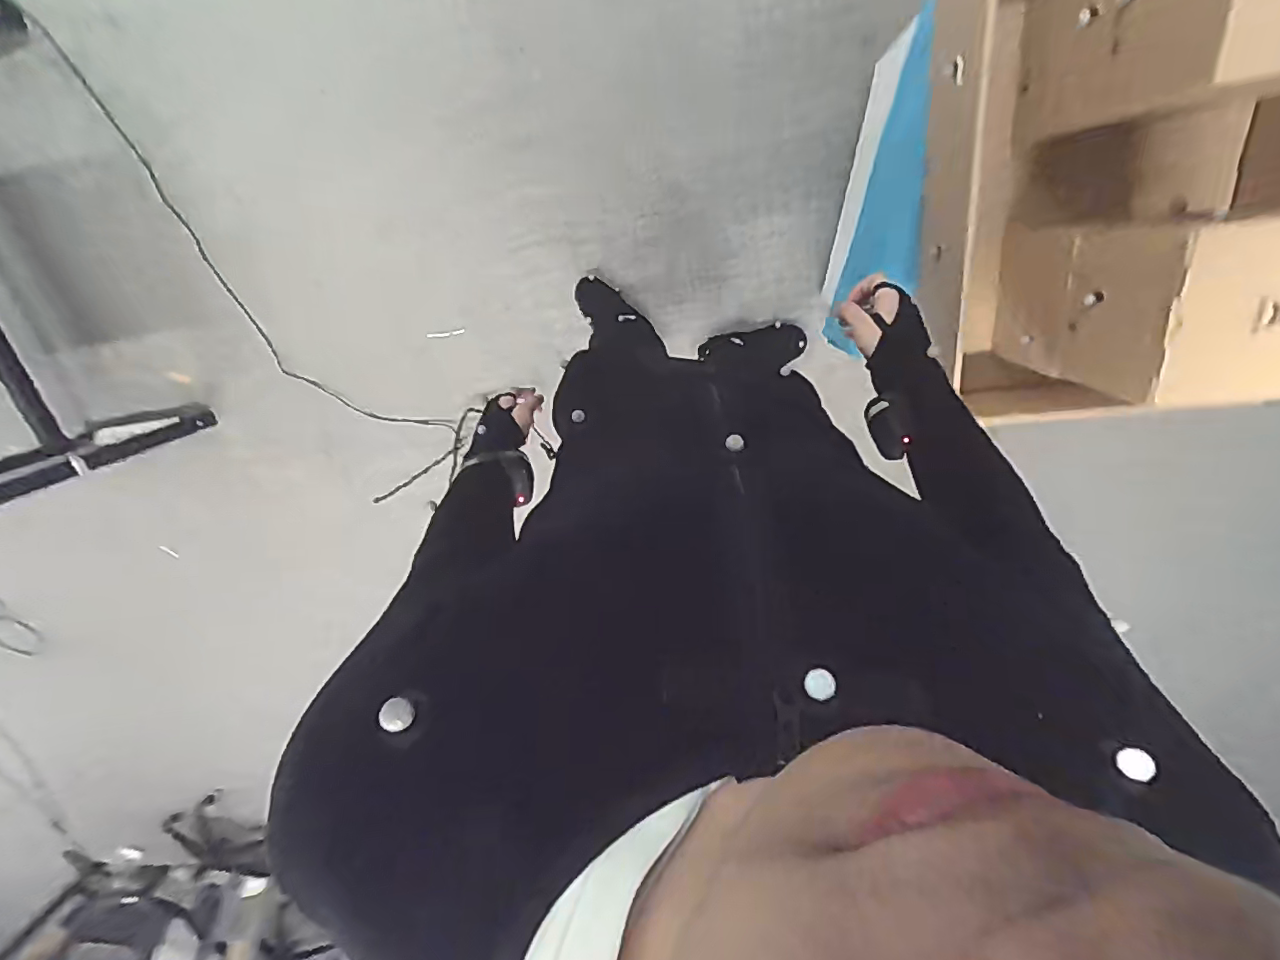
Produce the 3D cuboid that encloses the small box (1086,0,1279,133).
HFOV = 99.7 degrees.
[{"bbox_3d":[0.551,-0.423,0.472,0.179,0.176,0.168,-3,112,9],"label":"small box"}]

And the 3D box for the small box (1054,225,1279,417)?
[{"bbox_3d":[0.592,-0.173,0.571,0.179,0.176,0.168,-3,113,9],"label":"small box"}]
